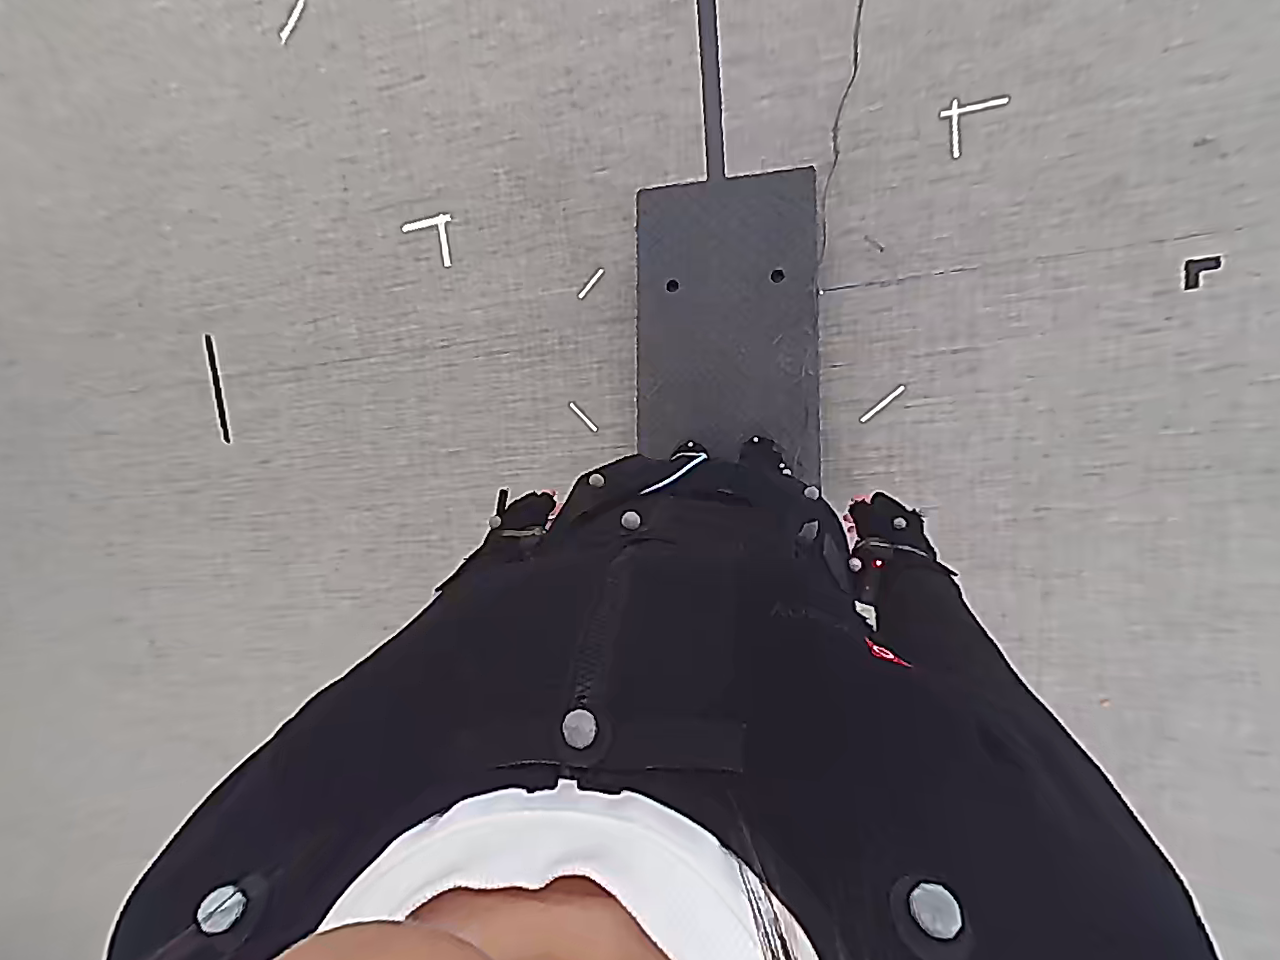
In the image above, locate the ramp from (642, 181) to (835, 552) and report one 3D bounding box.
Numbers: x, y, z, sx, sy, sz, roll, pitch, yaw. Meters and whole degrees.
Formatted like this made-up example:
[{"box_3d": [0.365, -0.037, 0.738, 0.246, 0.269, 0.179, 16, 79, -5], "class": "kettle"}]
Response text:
[{"box_3d": [0.251, -0.307, 1.482, 0.509, 0.206, 0.991, -4, 94, 15], "class": "ramp"}]
